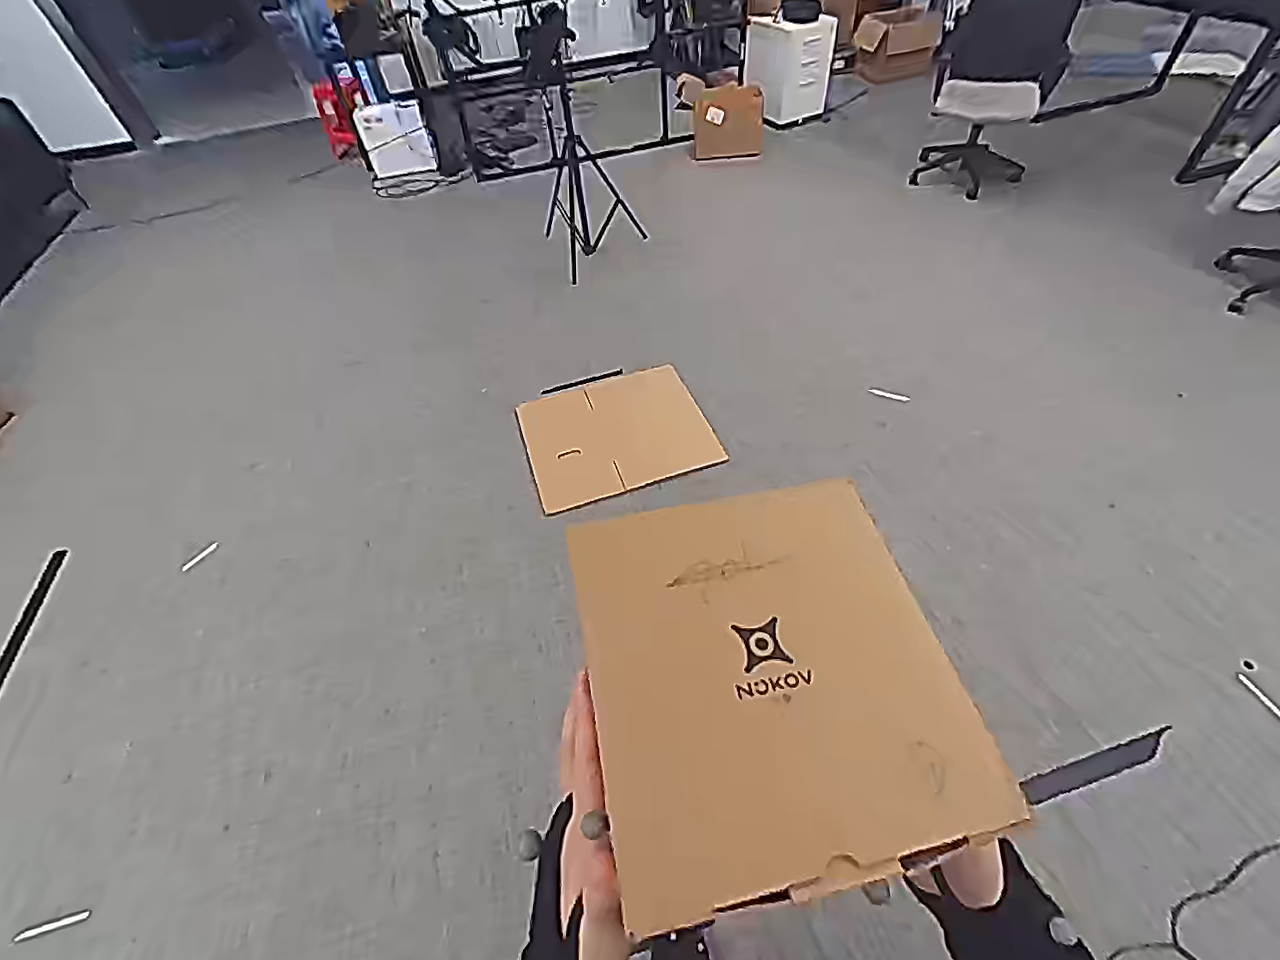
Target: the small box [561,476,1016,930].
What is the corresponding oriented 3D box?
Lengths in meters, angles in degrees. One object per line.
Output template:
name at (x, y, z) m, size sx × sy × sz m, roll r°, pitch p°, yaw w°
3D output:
small box at (0.053, 0.126, 0.315) m, size 0.168 × 0.176 × 0.179 m, roll -10°, pitch 53°, yaw -9°
